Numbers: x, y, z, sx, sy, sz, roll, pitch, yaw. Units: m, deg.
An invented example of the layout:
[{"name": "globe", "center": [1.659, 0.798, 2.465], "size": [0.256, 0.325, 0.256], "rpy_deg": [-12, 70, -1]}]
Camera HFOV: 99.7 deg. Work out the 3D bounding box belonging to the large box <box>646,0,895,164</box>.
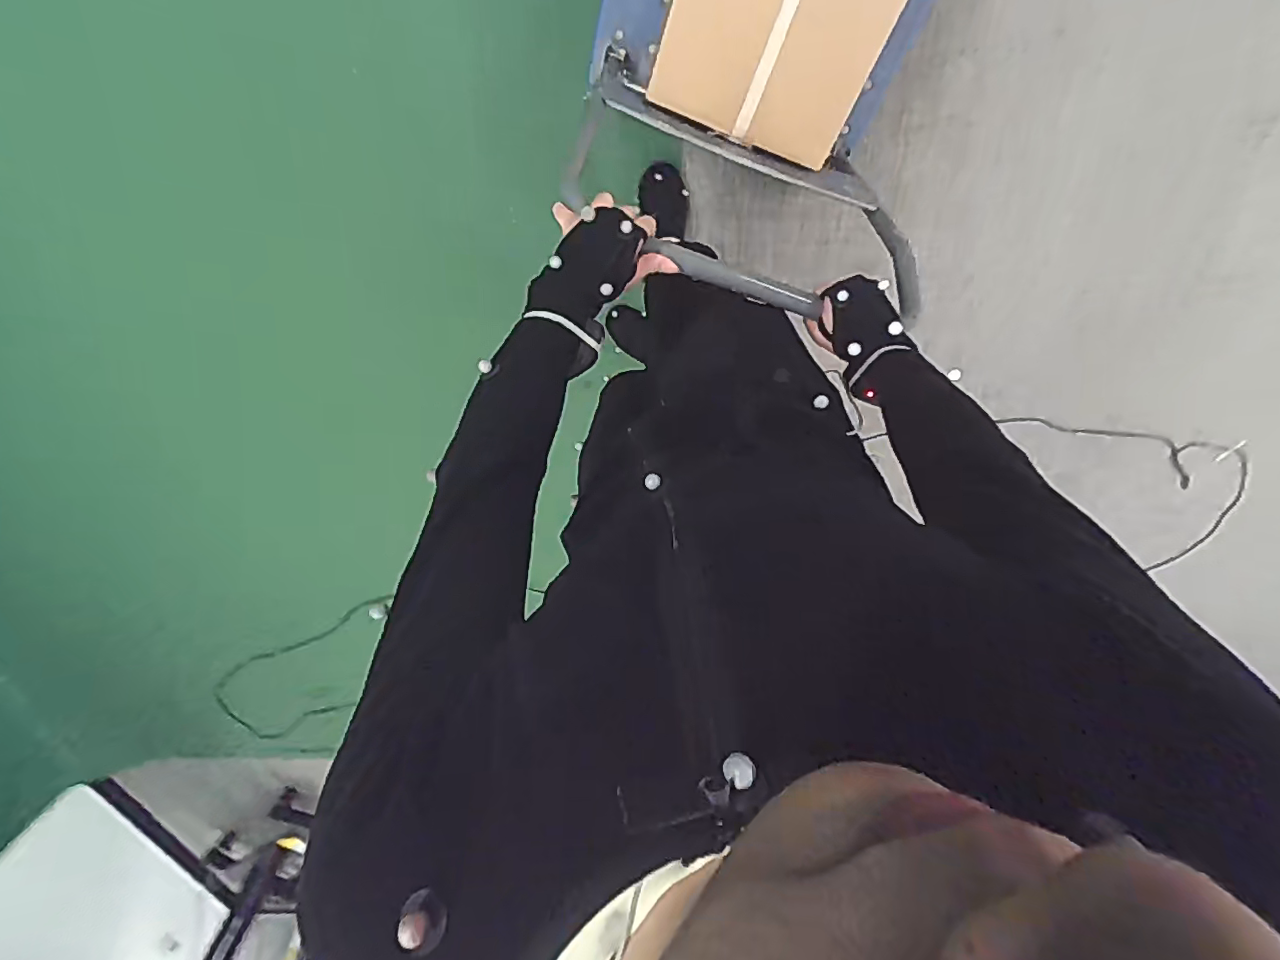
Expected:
[{"name": "large box", "center": [0.219, -0.808, 0.875], "size": [0.320, 0.320, 0.408], "rpy_deg": [16, 130, -12]}]
